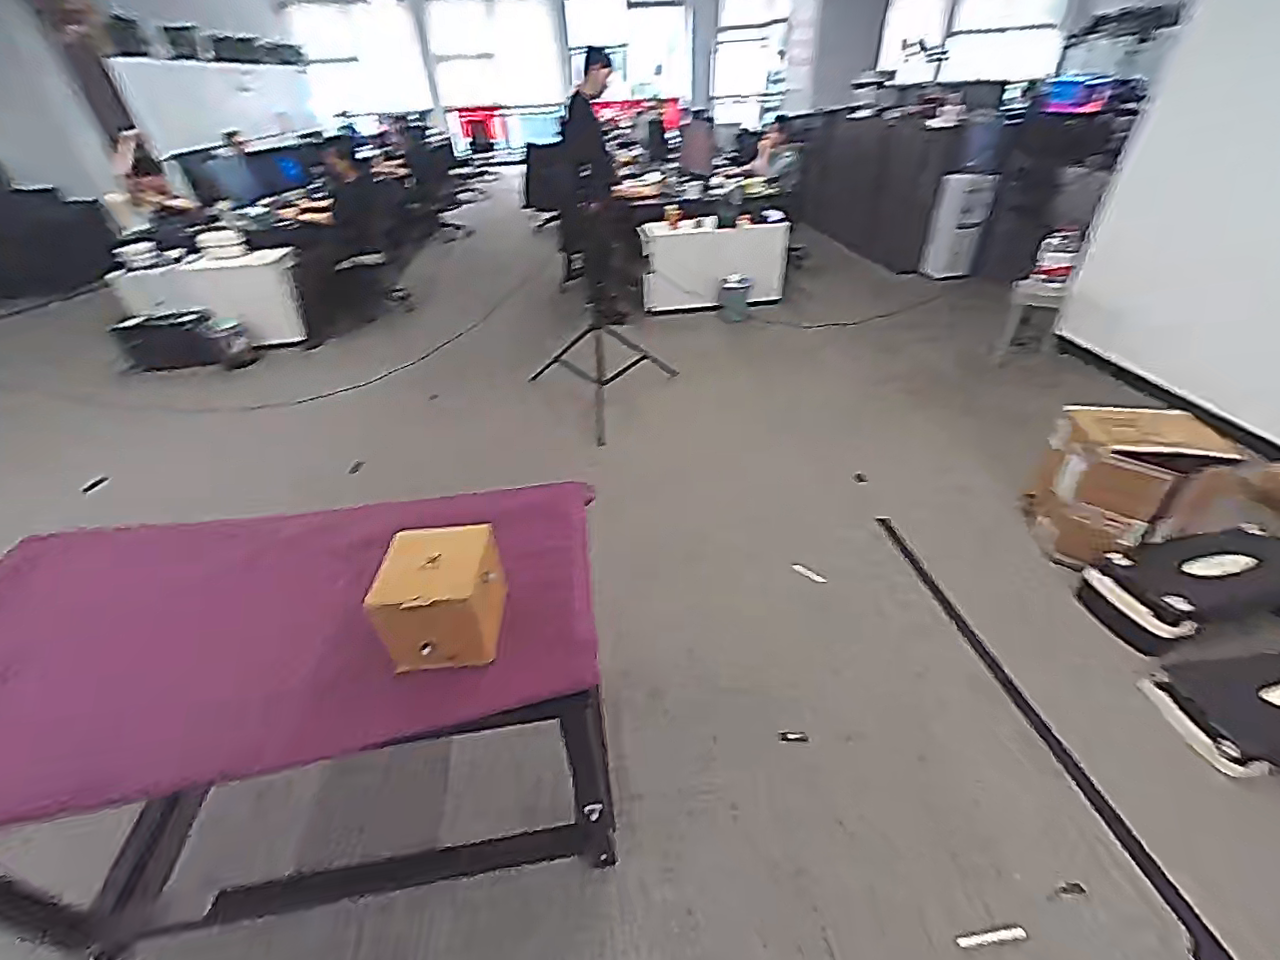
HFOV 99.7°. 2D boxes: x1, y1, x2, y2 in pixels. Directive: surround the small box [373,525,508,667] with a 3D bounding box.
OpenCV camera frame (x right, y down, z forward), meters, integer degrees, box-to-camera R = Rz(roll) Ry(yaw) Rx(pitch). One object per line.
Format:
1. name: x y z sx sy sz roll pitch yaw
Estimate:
1. small box: -0.336 0.202 0.952 0.168 0.176 0.179 -4 36 -1
